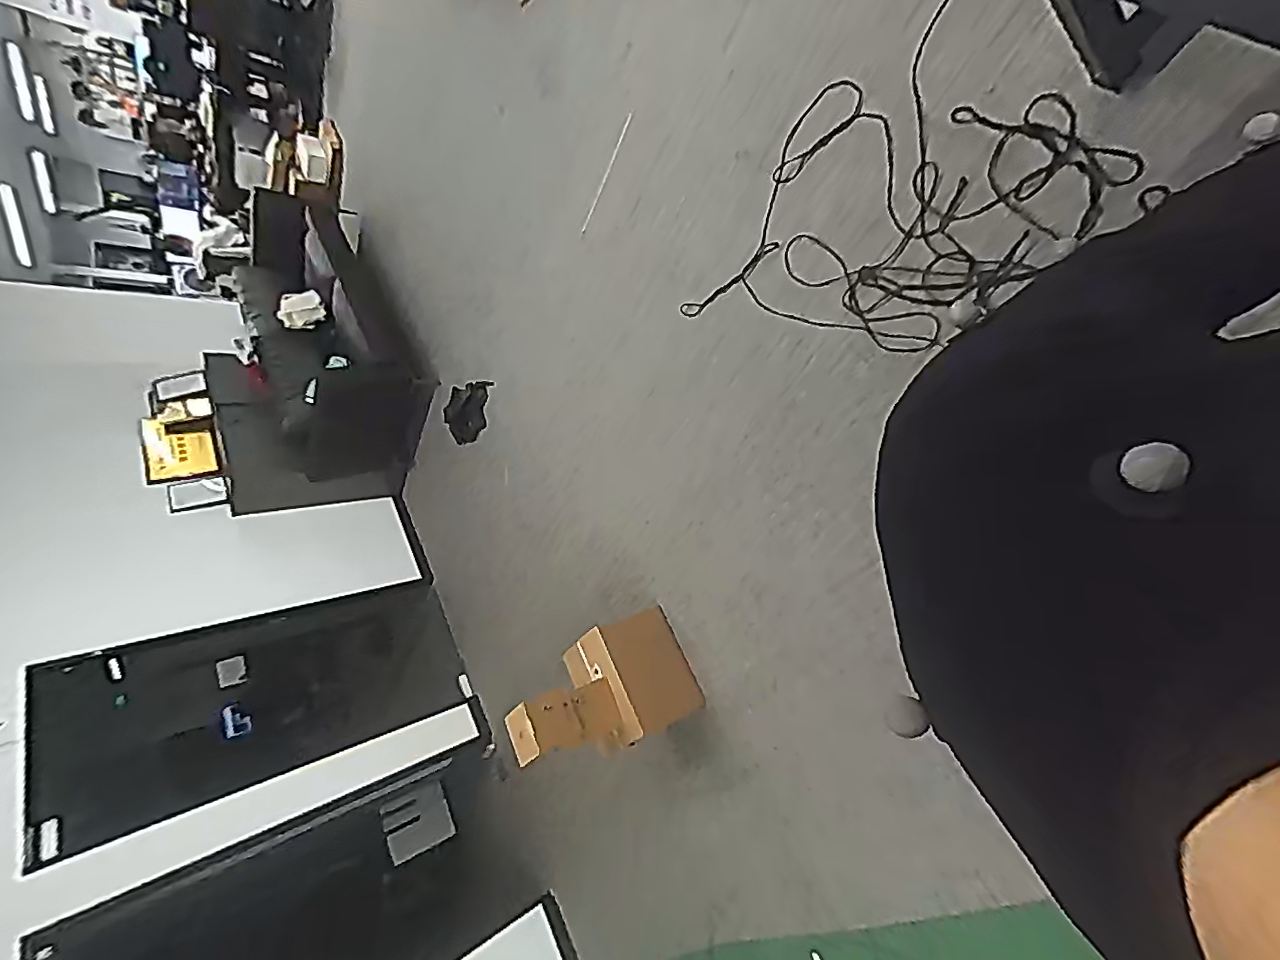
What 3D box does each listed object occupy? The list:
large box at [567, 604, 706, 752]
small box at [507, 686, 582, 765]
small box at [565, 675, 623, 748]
[{"bbox_3d":[-0.019,0.746,2.058,0.320,0.320,0.408,-48,59,41],"label":"large box"},{"bbox_3d":[-0.309,0.803,1.781,0.179,0.176,0.168,-52,56,41],"label":"small box"},{"bbox_3d":[-0.183,0.807,1.886,0.168,0.176,0.179,-42,65,45],"label":"small box"}]
